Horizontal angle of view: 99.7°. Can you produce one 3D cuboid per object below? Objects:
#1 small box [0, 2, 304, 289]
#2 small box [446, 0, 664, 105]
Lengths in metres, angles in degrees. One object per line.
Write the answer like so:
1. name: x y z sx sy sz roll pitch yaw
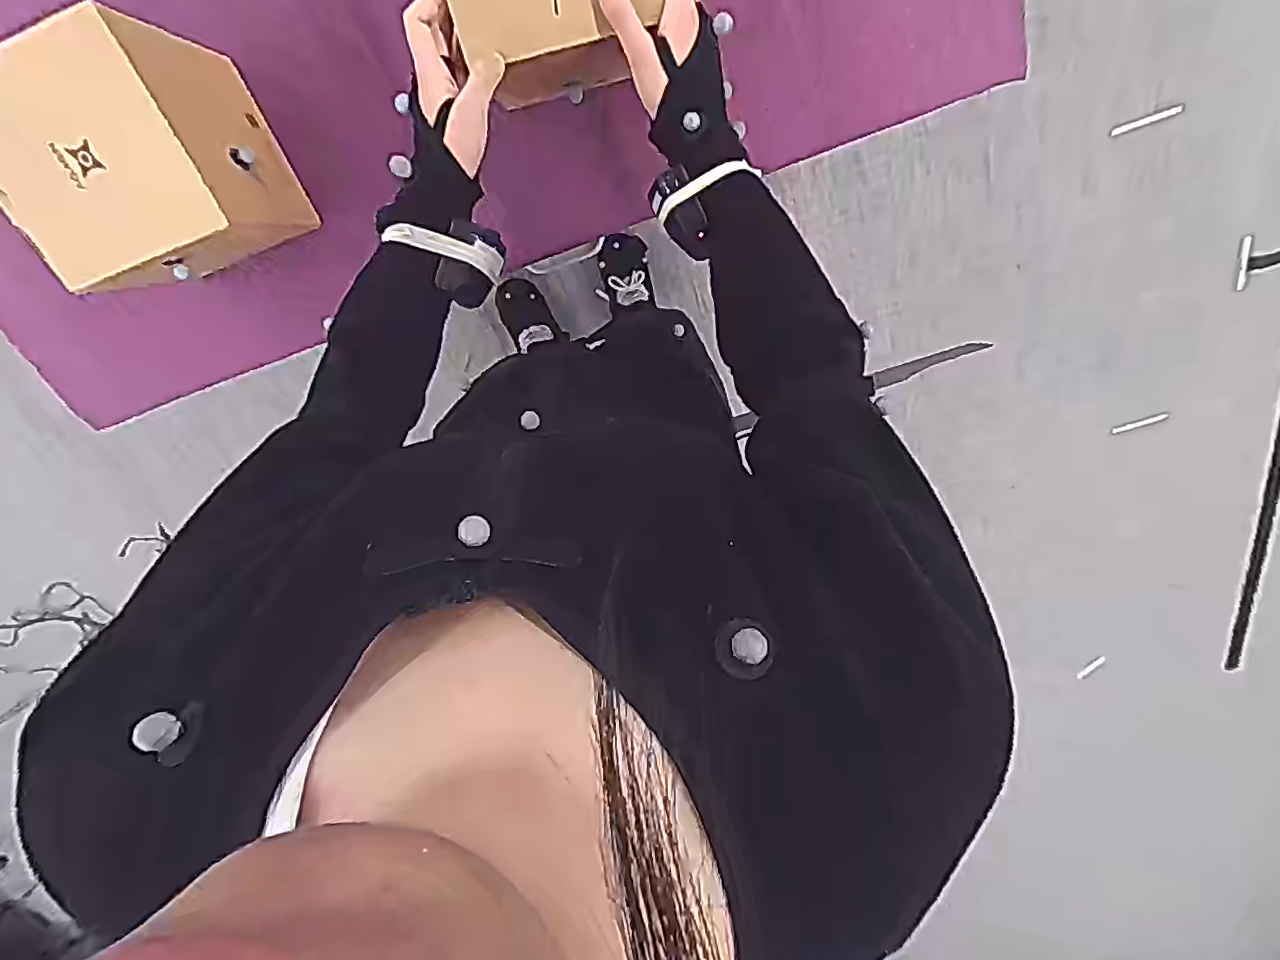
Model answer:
1. small box: -0.467 -0.304 0.521 0.179 0.176 0.168 -18 116 8
2. small box: -0.080 -0.452 0.461 0.168 0.176 0.179 -11 117 4
